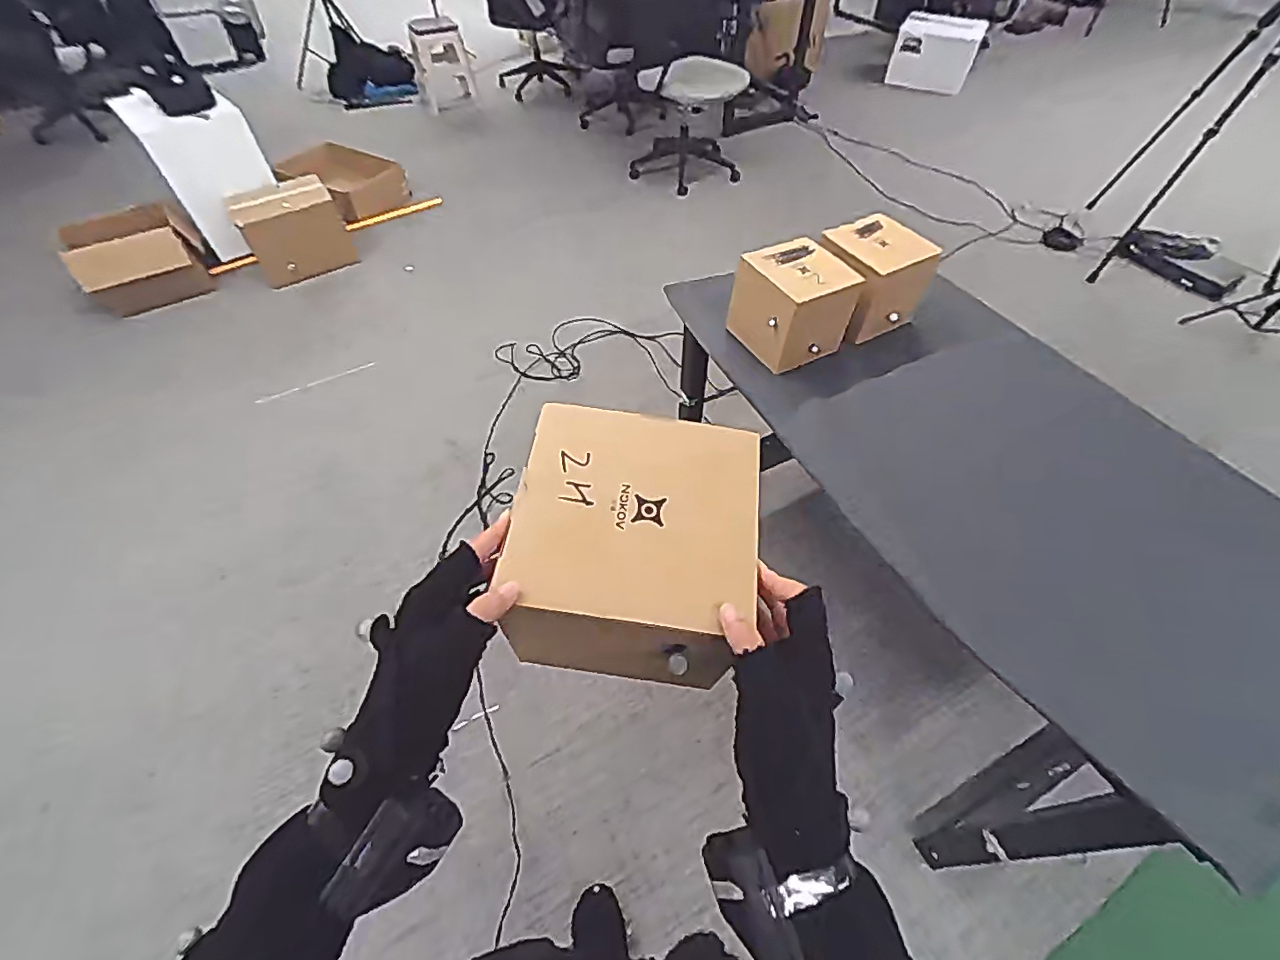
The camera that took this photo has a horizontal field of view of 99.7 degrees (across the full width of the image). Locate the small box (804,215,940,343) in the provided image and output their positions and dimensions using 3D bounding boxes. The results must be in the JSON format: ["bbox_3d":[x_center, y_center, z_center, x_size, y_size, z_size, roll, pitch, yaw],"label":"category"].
[{"bbox_3d":[0.473,-0.420,1.135,0.168,0.176,0.179,-25,57,-17],"label":"small box"}]

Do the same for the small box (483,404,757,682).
[{"bbox_3d":[-0.010,0.062,0.454,0.179,0.176,0.168,8,58,2],"label":"small box"}]
